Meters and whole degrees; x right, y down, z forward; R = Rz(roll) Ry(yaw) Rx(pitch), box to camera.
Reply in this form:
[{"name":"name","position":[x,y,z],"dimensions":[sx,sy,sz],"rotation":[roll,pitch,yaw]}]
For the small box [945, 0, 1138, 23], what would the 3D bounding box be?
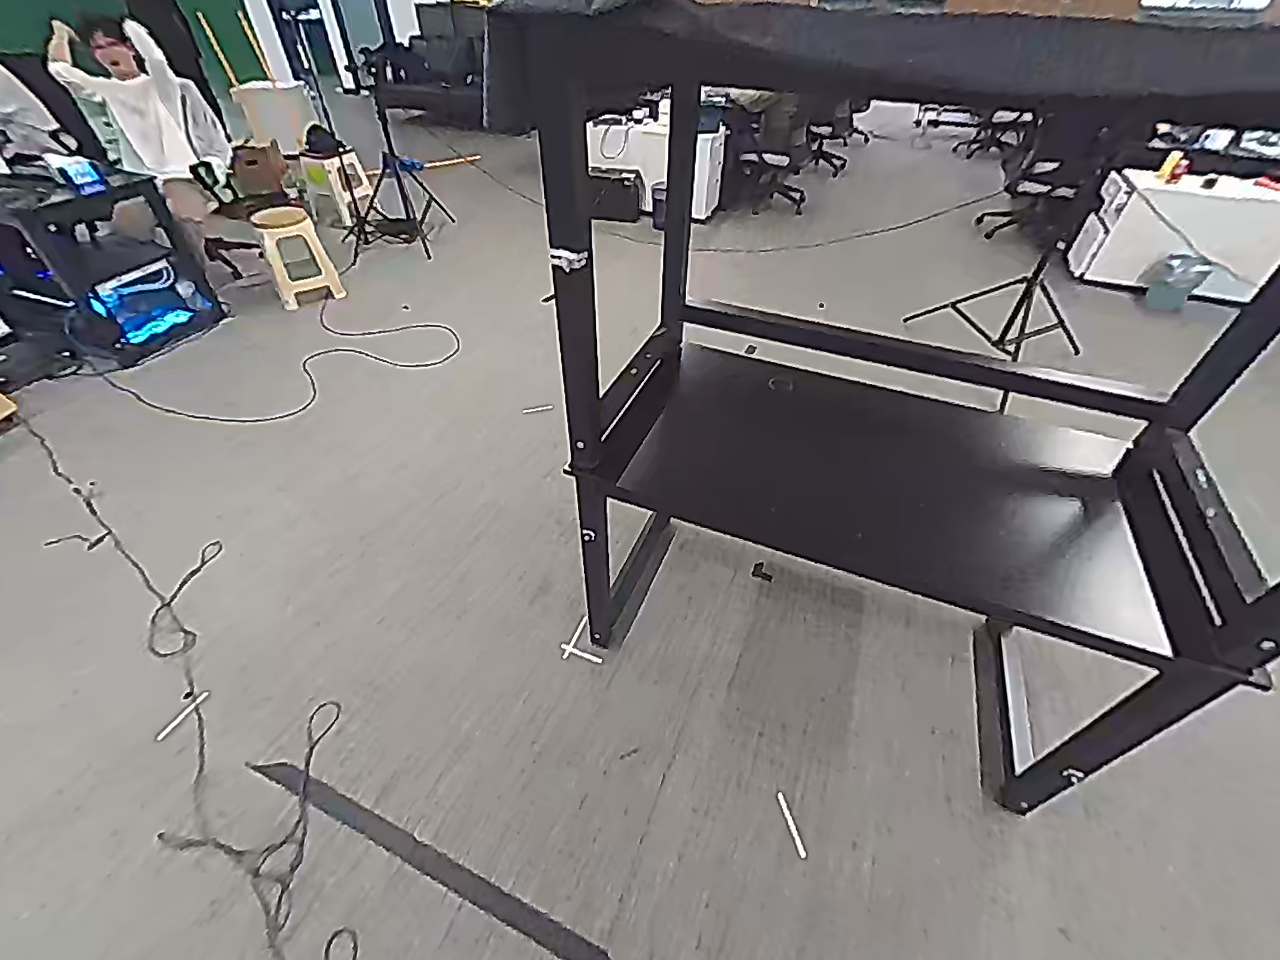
[{"name":"small box","position":[0.412,-0.556,0.519],"dimensions":[0.168,0.176,0.179],"rotation":[18,44,17]}]
